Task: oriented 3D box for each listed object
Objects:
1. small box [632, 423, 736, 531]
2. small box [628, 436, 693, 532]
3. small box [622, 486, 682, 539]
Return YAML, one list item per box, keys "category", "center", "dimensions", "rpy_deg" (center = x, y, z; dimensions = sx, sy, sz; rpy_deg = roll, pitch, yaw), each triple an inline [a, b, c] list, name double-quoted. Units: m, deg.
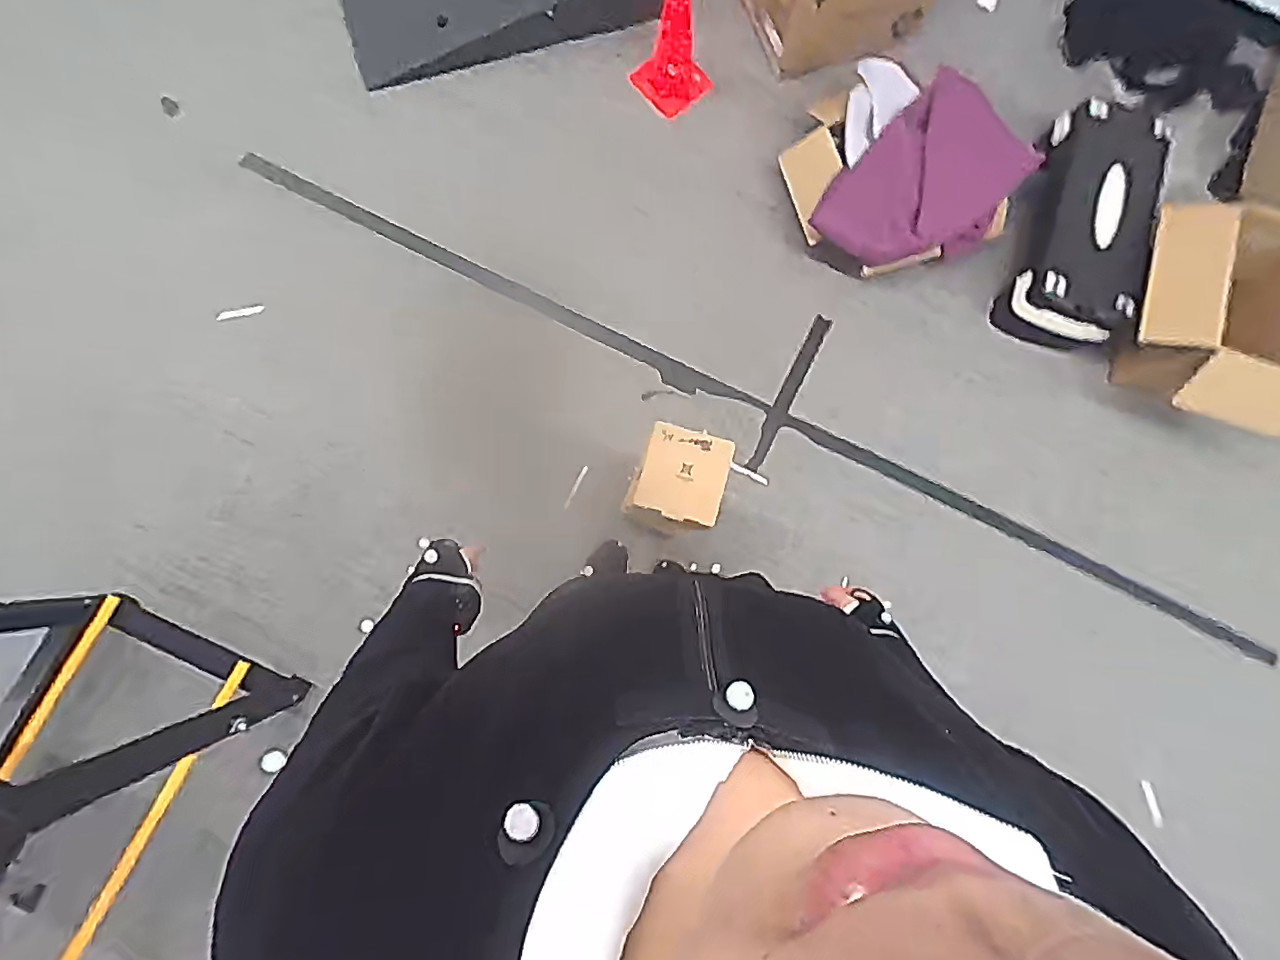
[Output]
- category: "small box"
  center: [0.086, 0.002, 1.126]
  dimensions: [0.168, 0.176, 0.179]
  rpy_deg: [17, 82, 1]
- category: "small box"
  center: [0.072, 0.015, 1.290]
  dimensions: [0.168, 0.176, 0.179]
  rpy_deg: [19, 82, 2]
- category: "small box"
  center: [0.058, 0.047, 1.452]
  dimensions: [0.168, 0.176, 0.179]
  rpy_deg: [23, 84, 2]
